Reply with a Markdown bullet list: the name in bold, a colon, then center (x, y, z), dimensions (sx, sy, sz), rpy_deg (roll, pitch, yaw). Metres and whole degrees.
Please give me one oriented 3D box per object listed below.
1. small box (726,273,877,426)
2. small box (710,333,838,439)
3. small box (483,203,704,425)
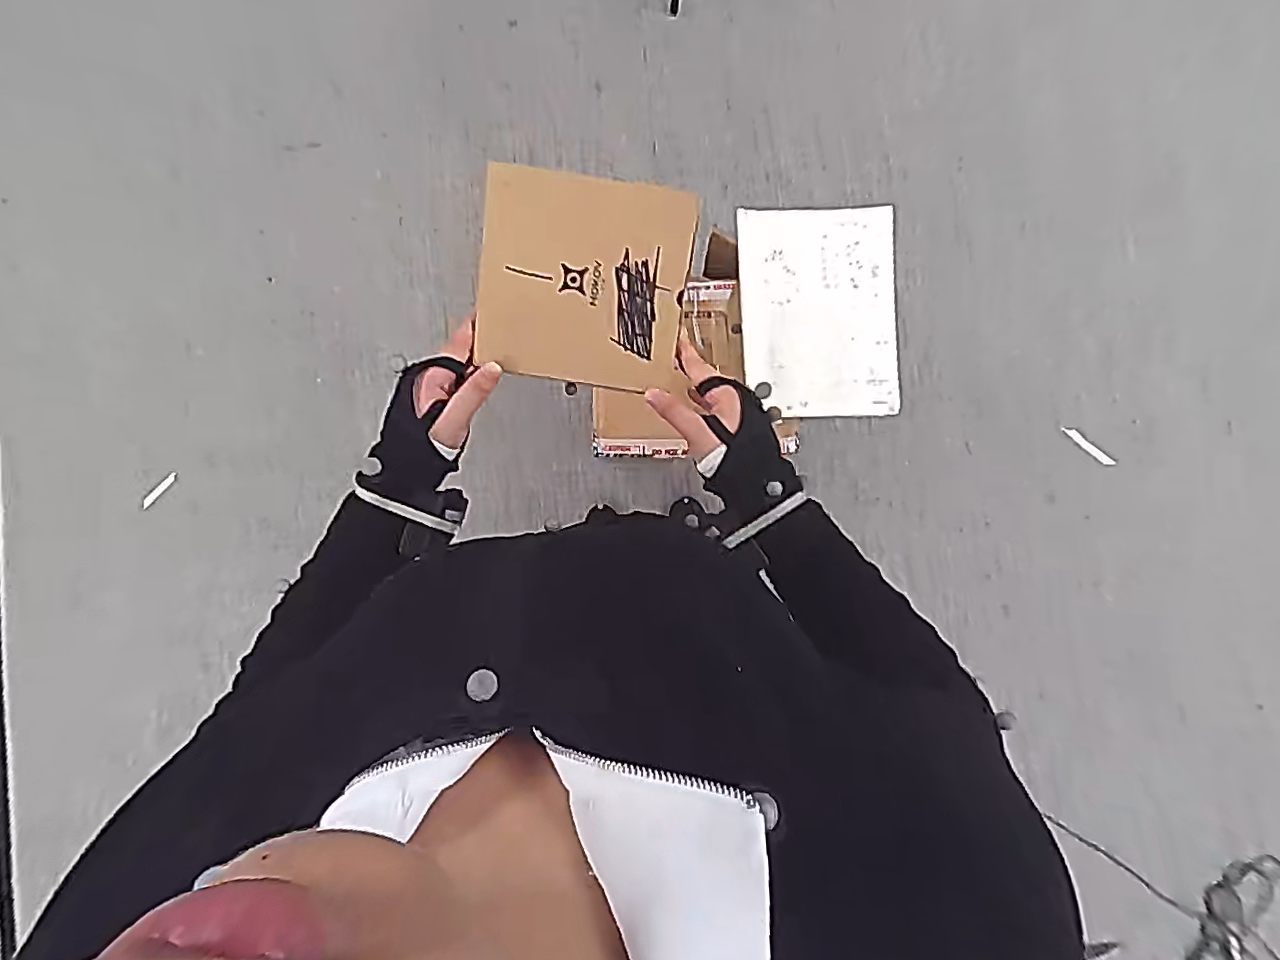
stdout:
- **small box**: center (0.225, -0.182, 0.797), dimensions (0.168, 0.176, 0.179), rpy_deg (-4, 88, 0)
- **small box**: center (0.229, -0.169, 0.960), dimensions (0.179, 0.176, 0.168), rpy_deg (-7, 88, 0)
- **small box**: center (-0.043, -0.158, 0.549), dimensions (0.179, 0.176, 0.168), rpy_deg (9, 101, -1)
